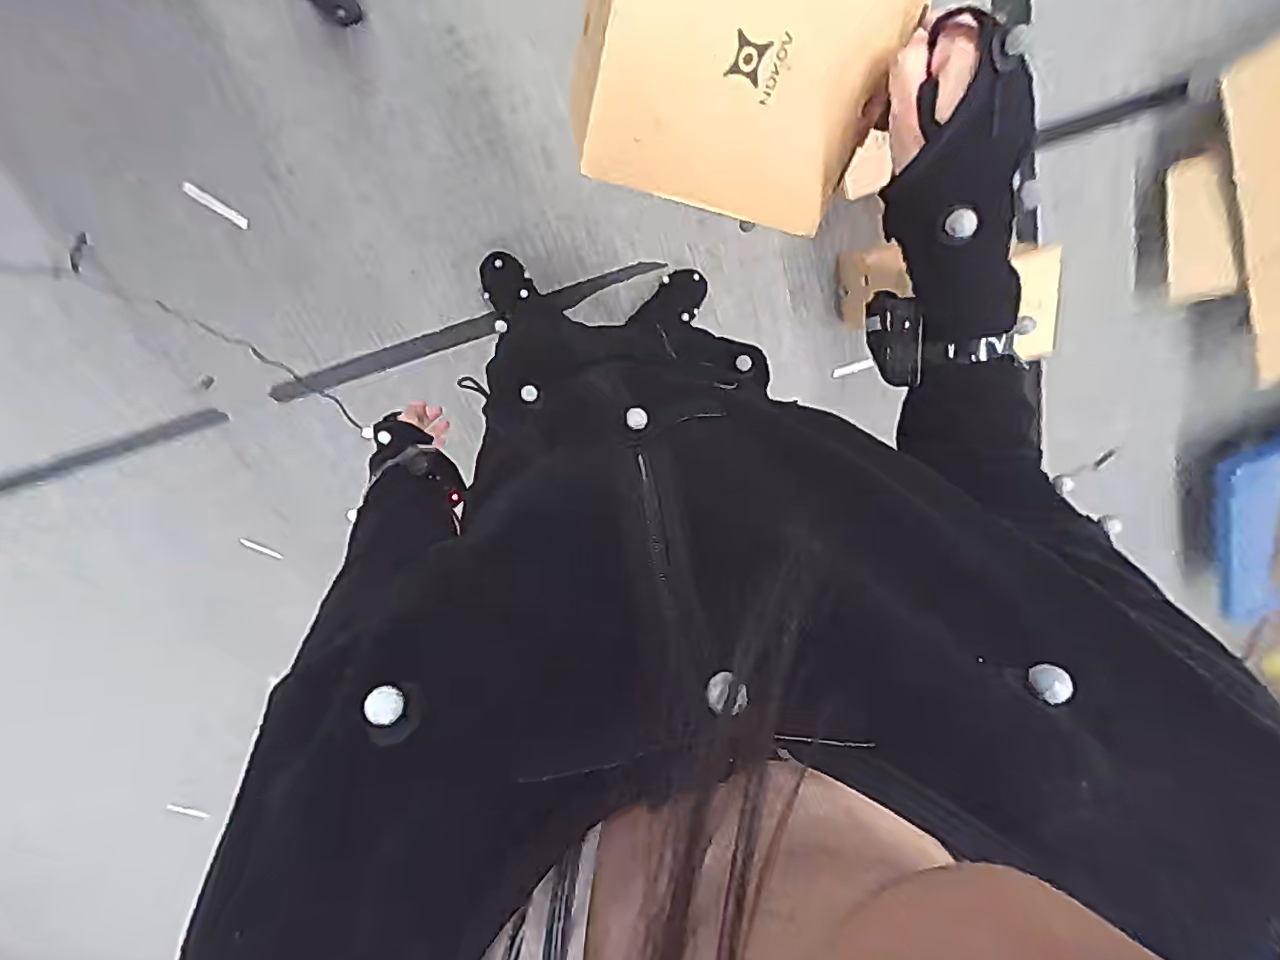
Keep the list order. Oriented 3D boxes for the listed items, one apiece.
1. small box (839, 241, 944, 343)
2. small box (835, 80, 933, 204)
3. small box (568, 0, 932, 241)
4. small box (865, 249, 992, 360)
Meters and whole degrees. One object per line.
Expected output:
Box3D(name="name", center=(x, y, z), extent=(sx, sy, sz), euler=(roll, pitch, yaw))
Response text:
Box3D(name="small box", center=(0.566, -0.432, 1.231), extent=(0.168, 0.176, 0.179), euler=(-12, 117, 4))
Box3D(name="small box", center=(0.467, -0.678, 1.109), extent=(0.179, 0.176, 0.168), euler=(-18, 116, 5))
Box3D(name="small box", center=(0.052, -0.290, 0.363), extent=(0.179, 0.176, 0.168), euler=(5, 133, -18))
Box3D(name="small box", center=(0.566, -0.356, 1.085), extent=(0.179, 0.176, 0.168), euler=(-14, 116, 4))
